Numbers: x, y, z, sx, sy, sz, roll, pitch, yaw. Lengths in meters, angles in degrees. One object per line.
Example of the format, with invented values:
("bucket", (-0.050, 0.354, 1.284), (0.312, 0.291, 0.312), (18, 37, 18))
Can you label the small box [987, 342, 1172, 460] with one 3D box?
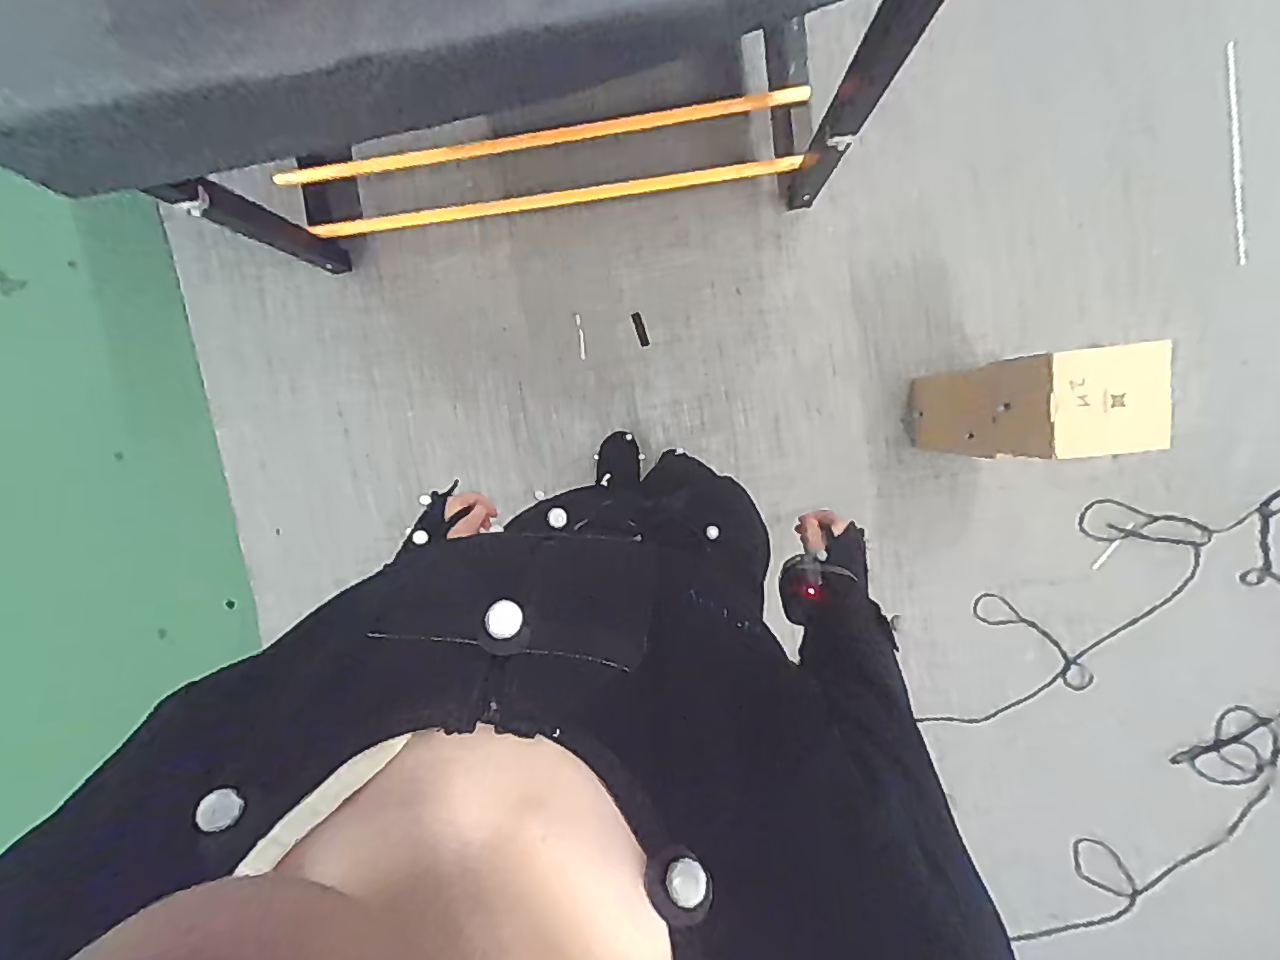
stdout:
("small box", (0.713, -0.129, 0.894), (0.179, 0.176, 0.168), (-6, 96, 3))

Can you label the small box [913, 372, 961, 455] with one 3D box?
("small box", (0.736, -0.158, 1.220), (0.168, 0.176, 0.179), (-5, 98, 3))

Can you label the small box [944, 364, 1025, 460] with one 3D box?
("small box", (0.723, -0.141, 1.058), (0.168, 0.176, 0.179), (-7, 95, 3))
